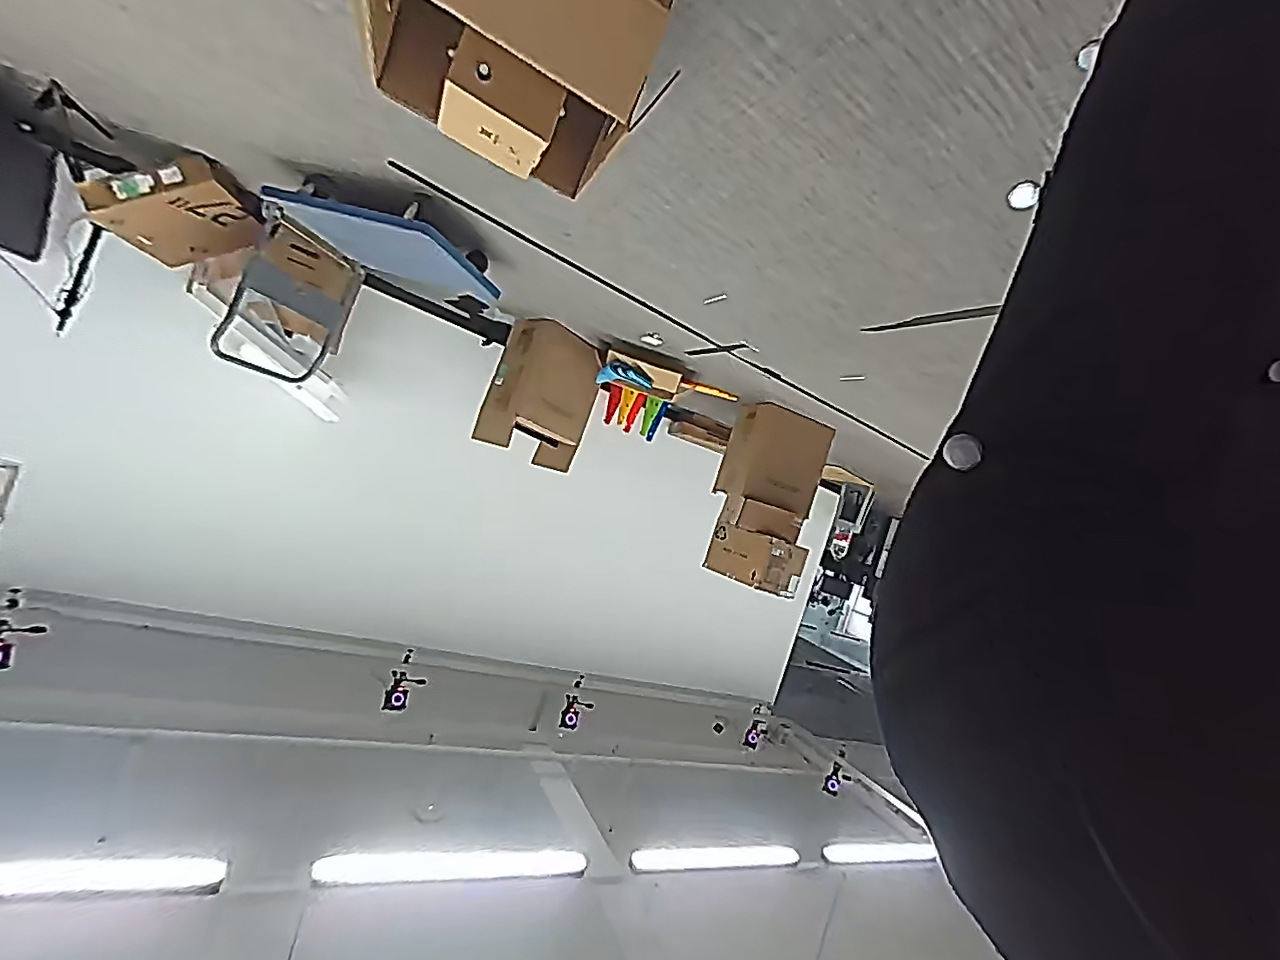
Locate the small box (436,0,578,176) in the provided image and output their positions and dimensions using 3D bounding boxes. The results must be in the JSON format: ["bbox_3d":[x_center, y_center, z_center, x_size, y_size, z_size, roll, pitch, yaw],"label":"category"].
[{"bbox_3d":[-0.232,-0.681,0.938,0.179,0.176,0.168,20,179,-26],"label":"small box"}]
